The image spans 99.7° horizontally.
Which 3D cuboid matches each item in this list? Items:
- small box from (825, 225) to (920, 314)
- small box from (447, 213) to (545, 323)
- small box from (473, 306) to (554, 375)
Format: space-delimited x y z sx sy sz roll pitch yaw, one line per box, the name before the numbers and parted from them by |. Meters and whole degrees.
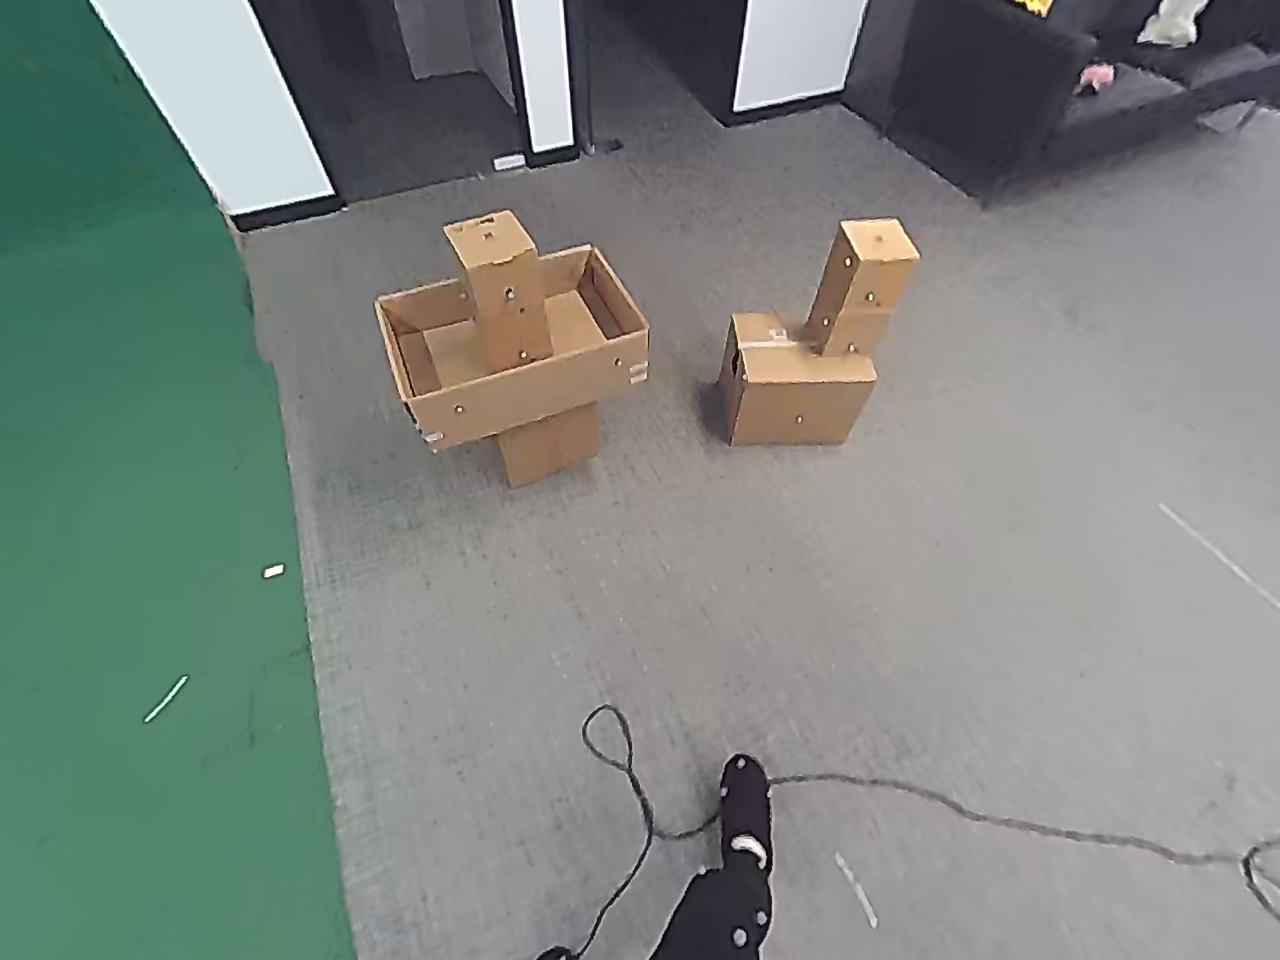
small box | 0.637 -0.586 1.510 0.168 0.176 0.179 -4 56 -4
small box | -0.338 -0.499 1.293 0.168 0.176 0.179 -23 61 -16
small box | -0.339 -0.410 1.431 0.168 0.176 0.179 -21 60 -14
